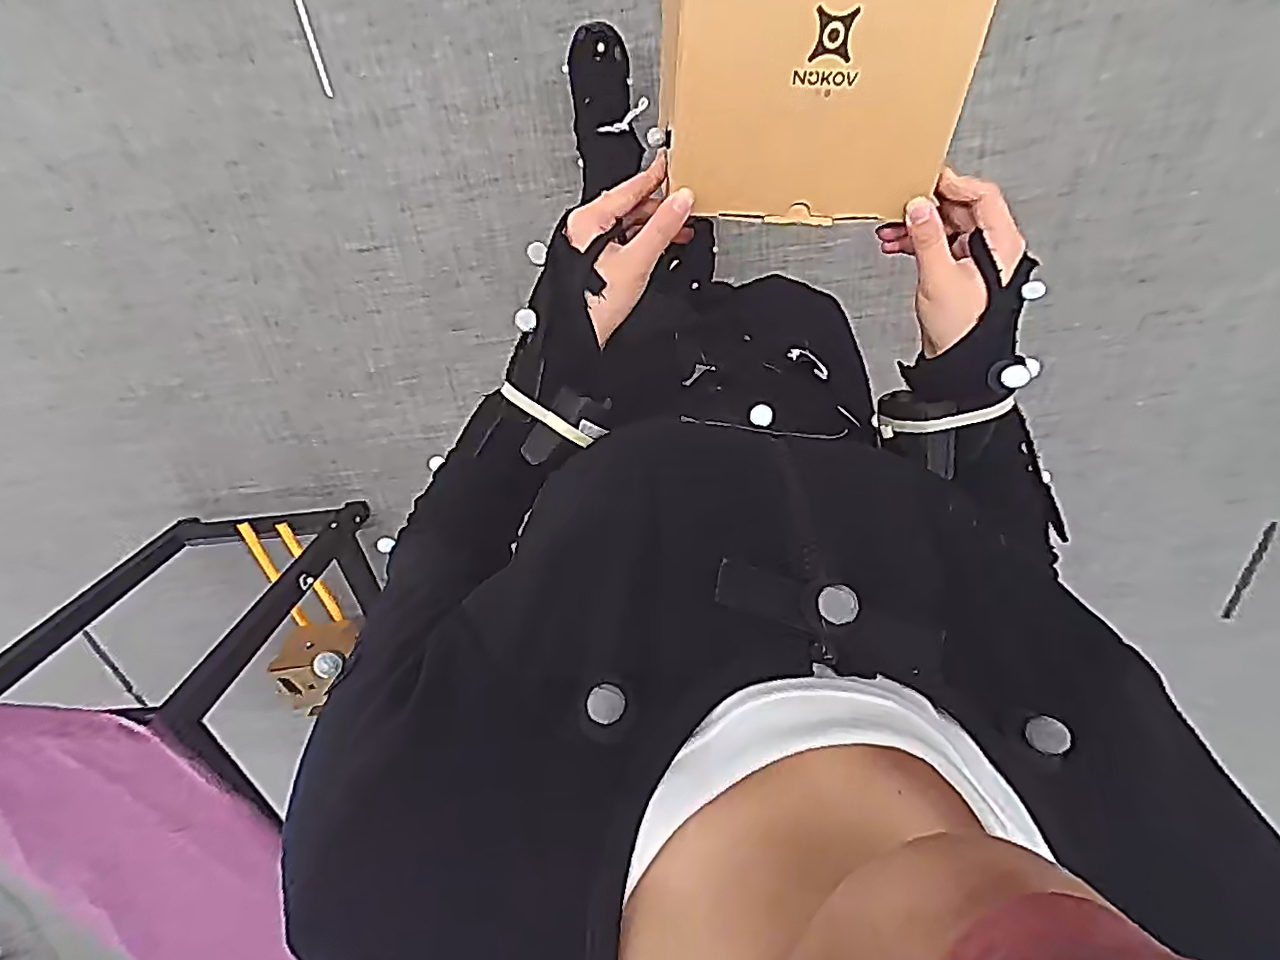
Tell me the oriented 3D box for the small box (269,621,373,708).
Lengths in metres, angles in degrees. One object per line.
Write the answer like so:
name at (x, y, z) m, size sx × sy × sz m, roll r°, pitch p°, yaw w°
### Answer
small box at (-0.929, 0.539, 1.592) m, size 0.179 × 0.176 × 0.168 m, roll -9°, pitch 121°, yaw 3°

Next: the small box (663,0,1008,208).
small box at (0.103, -0.288, 0.341) m, size 0.168 × 0.176 × 0.179 m, roll 0°, pitch 130°, yaw -2°
